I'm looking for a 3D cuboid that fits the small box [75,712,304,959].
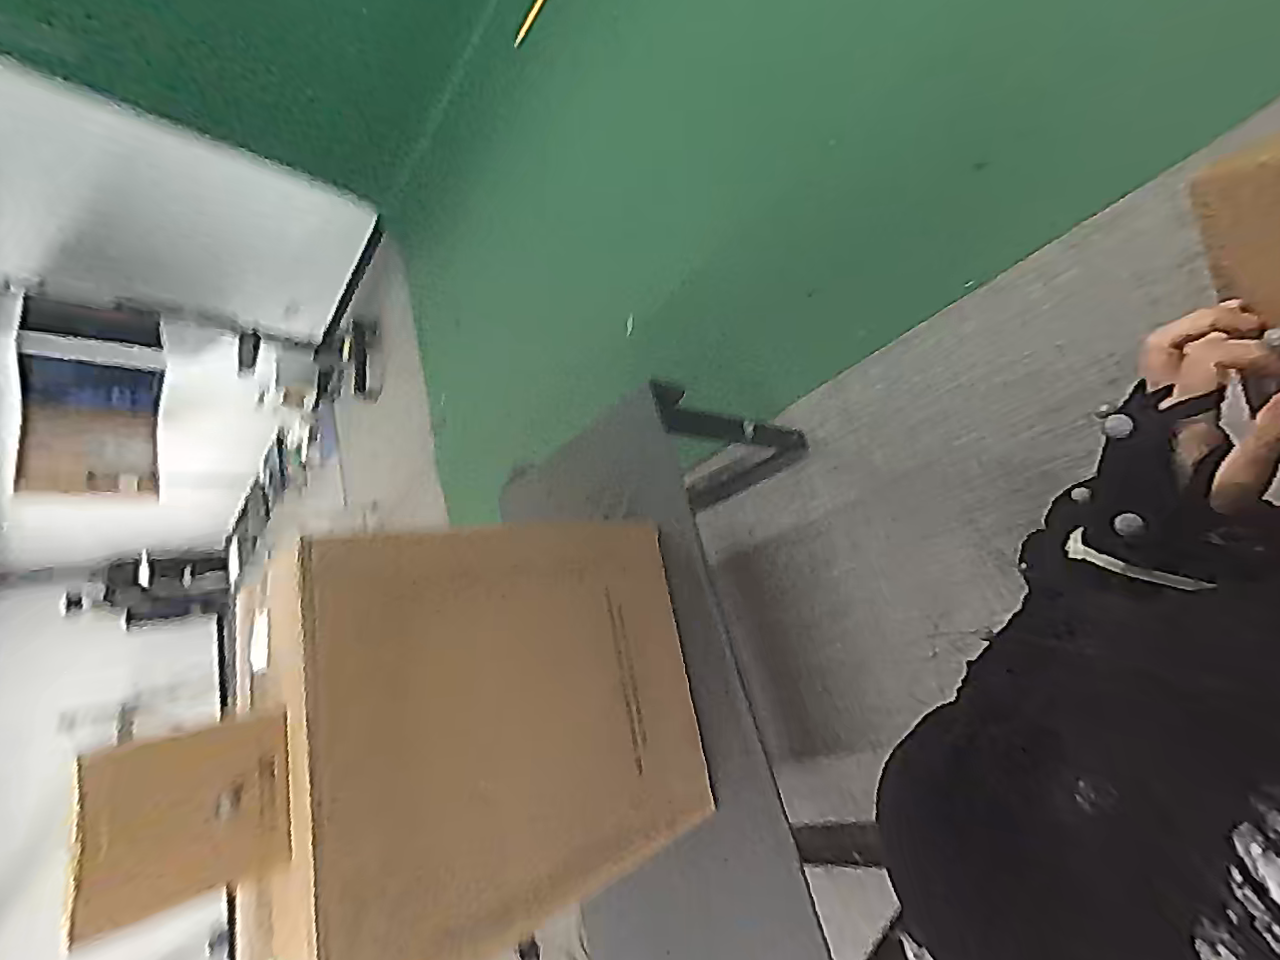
[{"bbox_3d":[-0.484,0.361,0.587,0.179,0.176,0.168,-25,72,39],"label":"small box"}]
